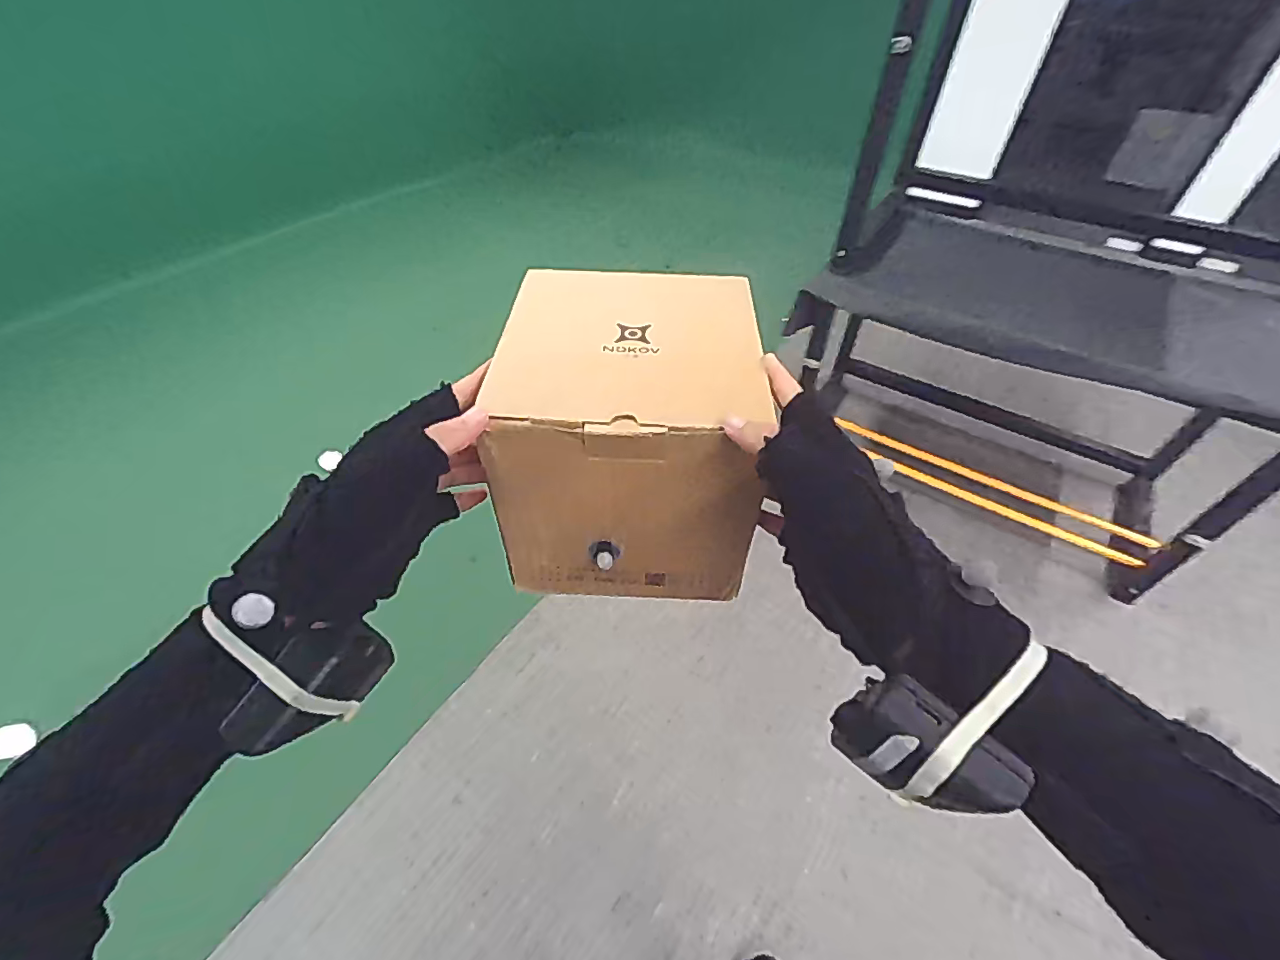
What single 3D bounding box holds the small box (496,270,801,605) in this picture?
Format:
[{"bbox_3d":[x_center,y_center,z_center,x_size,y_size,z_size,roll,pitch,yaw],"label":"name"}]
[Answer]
[{"bbox_3d":[0.005,-0.031,0.398,0.168,0.176,0.179,3,47,1],"label":"small box"}]
